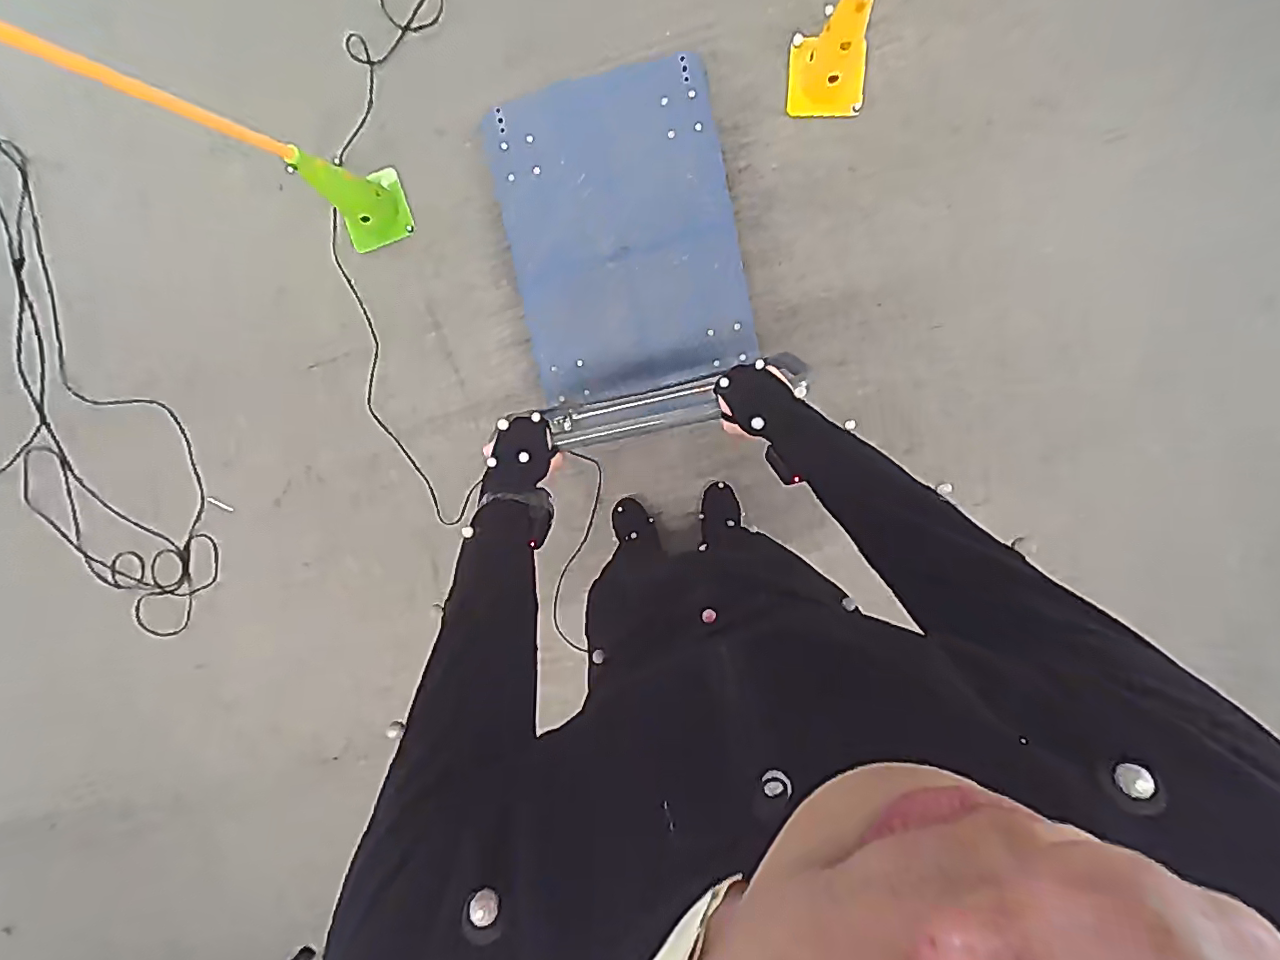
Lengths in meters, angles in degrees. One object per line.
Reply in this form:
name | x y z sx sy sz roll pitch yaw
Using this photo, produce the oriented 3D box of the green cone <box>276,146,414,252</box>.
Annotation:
green cone | -0.803 -0.783 1.432 0.202 0.368 0.200 -18 94 8
